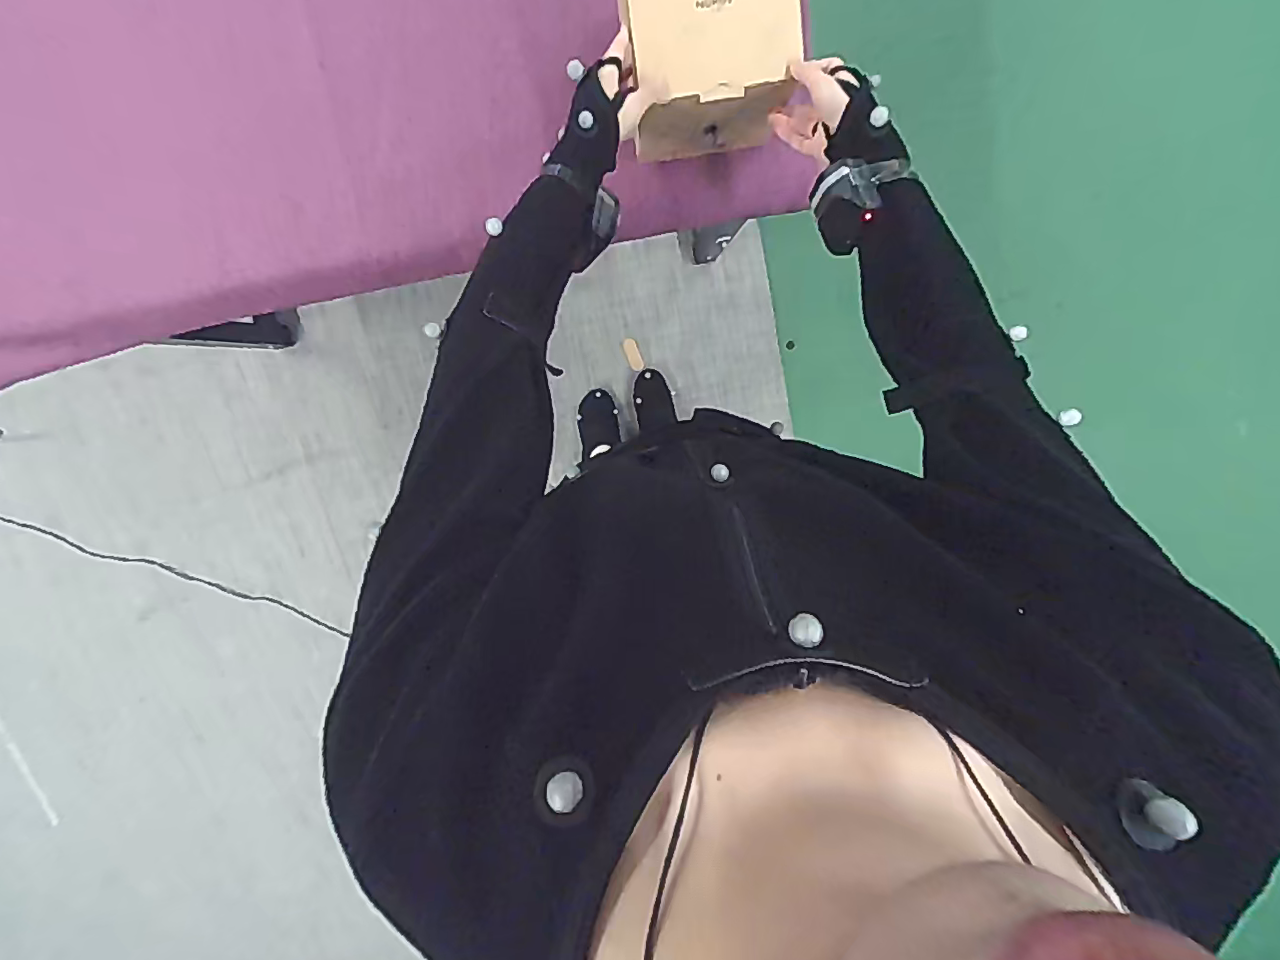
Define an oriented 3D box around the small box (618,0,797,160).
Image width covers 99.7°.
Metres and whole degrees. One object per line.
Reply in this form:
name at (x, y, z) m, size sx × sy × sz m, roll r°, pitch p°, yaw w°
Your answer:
small box at (0.066, -0.475, 0.595) m, size 0.168 × 0.176 × 0.179 m, roll -8°, pitch 103°, yaw 1°
